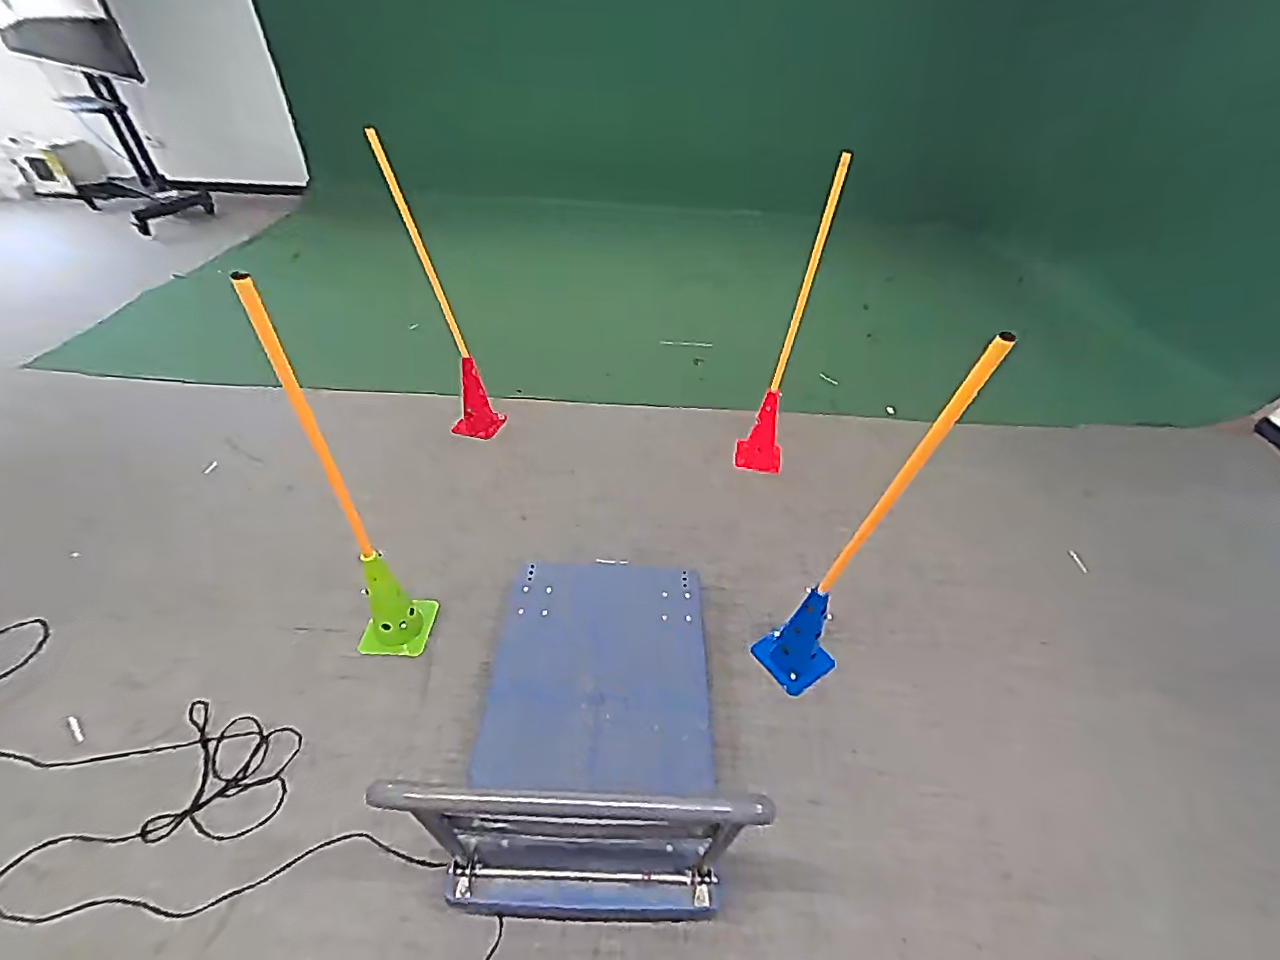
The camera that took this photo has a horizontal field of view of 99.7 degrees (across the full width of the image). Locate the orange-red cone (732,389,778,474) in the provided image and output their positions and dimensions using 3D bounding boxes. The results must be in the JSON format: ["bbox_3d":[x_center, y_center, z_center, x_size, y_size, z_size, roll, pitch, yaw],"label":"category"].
[{"bbox_3d":[0.523,-0.227,2.309,0.198,0.360,0.199,10,43,9],"label":"orange-red cone"}]
